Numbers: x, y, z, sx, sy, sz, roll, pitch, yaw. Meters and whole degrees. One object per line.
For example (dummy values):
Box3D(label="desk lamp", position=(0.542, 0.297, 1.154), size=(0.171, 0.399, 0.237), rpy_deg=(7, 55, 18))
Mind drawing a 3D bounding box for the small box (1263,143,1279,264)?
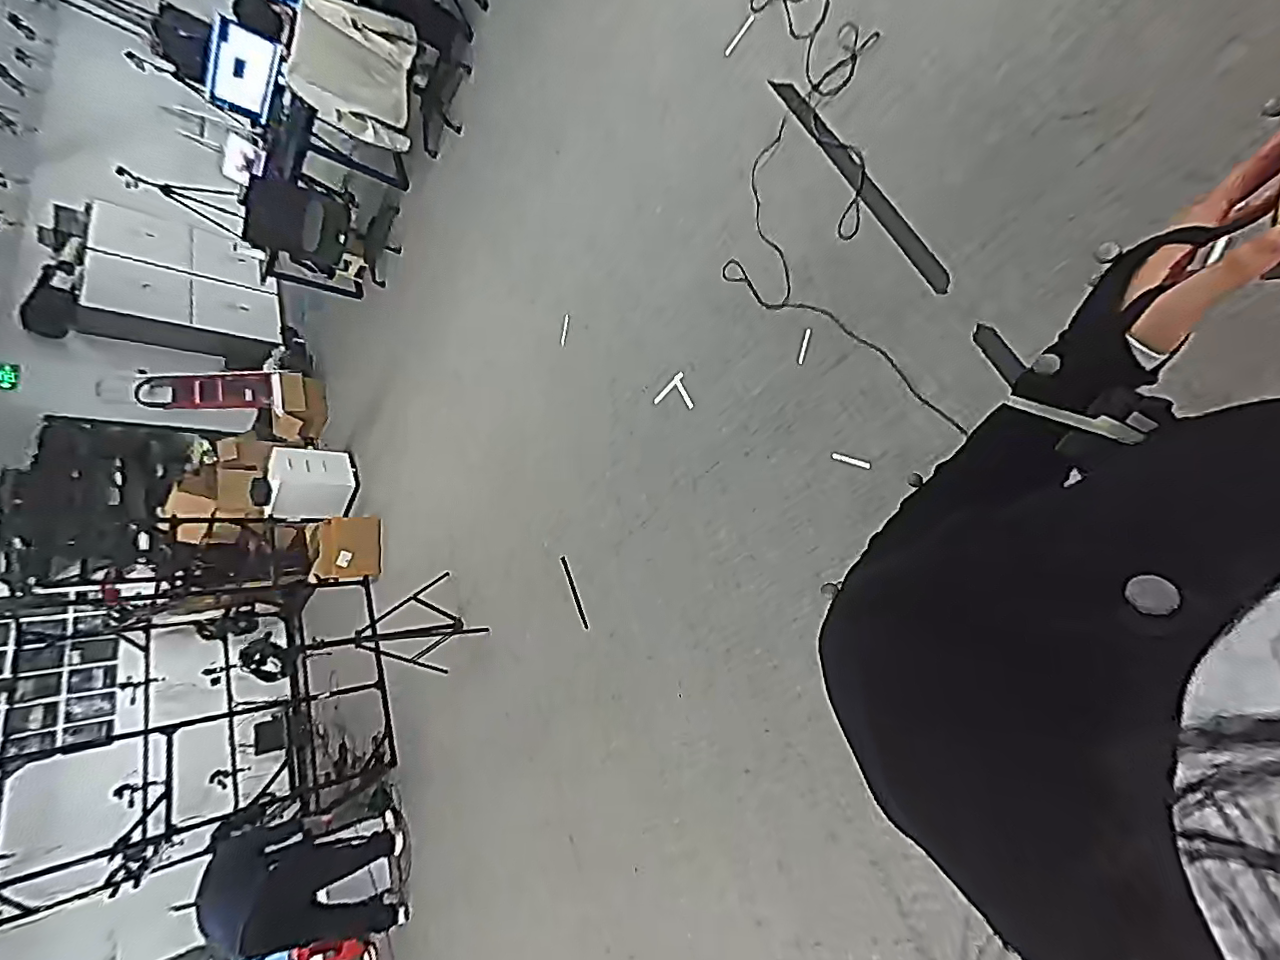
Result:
Box3D(label="small box", position=(0.463, -0.217, 0.279), size=(0.168, 0.176, 0.179), rpy_deg=(11, 107, 46))
